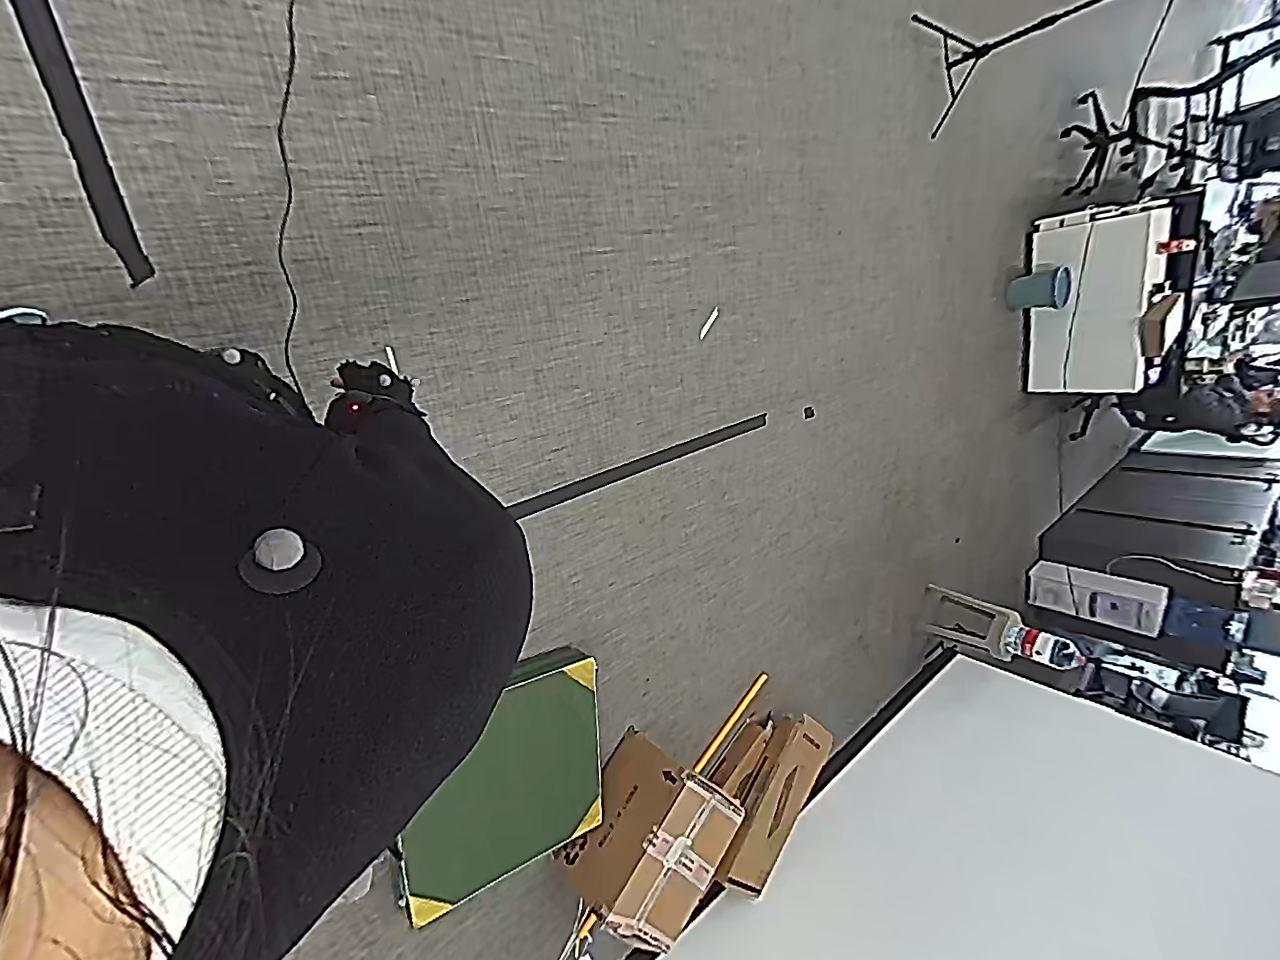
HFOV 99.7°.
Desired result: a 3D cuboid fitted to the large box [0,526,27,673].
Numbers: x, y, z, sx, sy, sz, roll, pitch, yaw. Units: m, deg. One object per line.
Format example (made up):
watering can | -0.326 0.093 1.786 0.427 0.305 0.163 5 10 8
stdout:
large box | -0.925 0.040 0.537 0.320 0.408 0.320 -21 150 -38
